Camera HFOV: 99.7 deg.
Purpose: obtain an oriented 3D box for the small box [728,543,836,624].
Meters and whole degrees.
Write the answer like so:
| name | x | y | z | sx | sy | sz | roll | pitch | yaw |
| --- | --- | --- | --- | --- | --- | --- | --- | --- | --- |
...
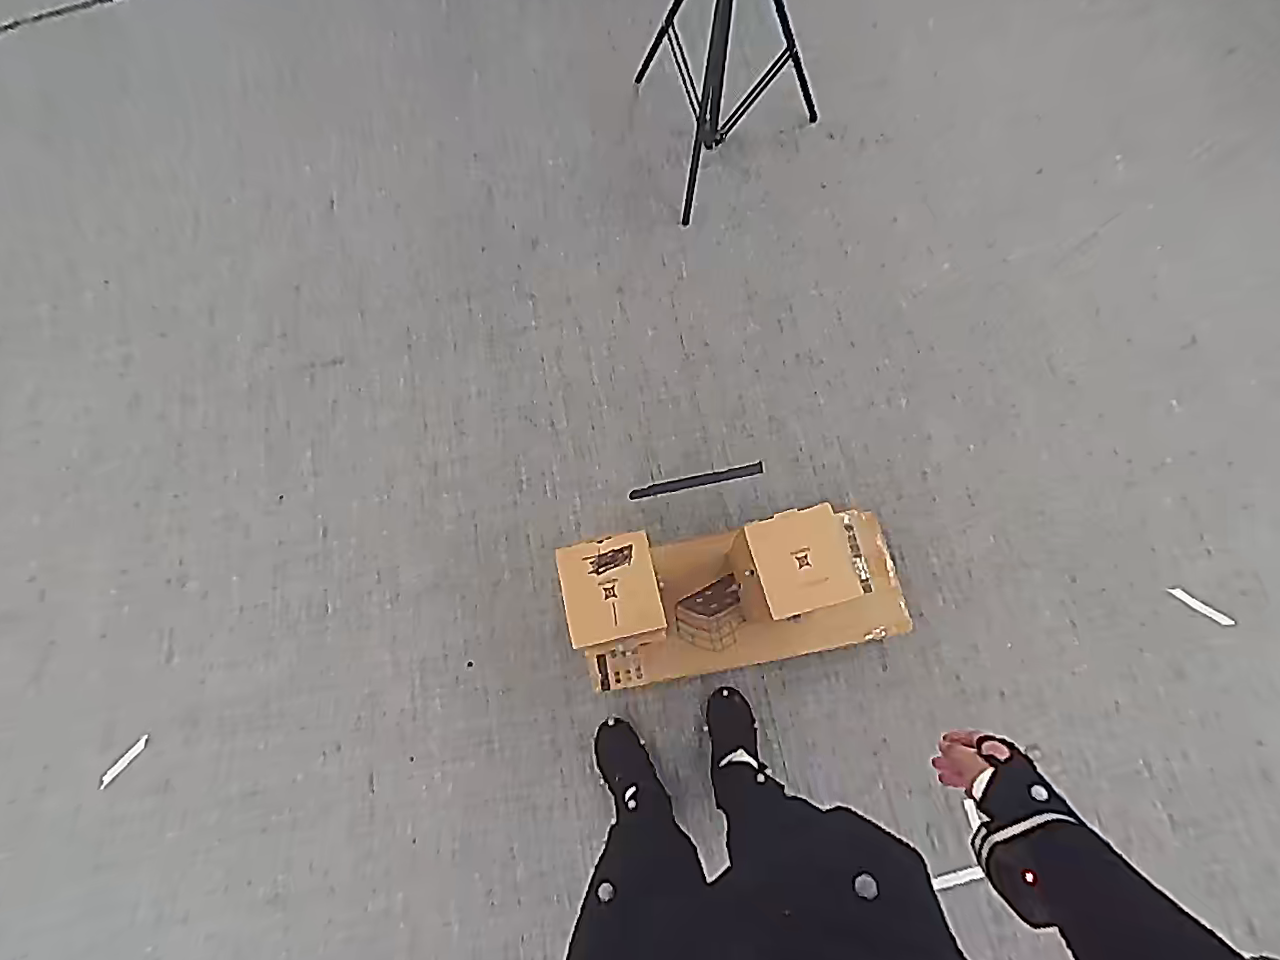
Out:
| name | x | y | z | sx | sy | sz | roll | pitch | yaw |
| --- | --- | --- | --- | --- | --- | --- | --- | --- | --- |
| small box | 0.301 | 0.211 | 1.179 | 0.168 | 0.176 | 0.179 | -12 | 74 | -4 |

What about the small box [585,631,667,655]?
| name | x | y | z | sx | sy | sz | roll | pitch | yaw |
| --- | --- | --- | --- | --- | --- | --- | --- | --- | --- |
| small box | -0.042 | 0.276 | 1.166 | 0.168 | 0.176 | 0.179 | -11 | 73 | -2 |

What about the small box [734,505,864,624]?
| name | x | y | z | sx | sy | sz | roll | pitch | yaw |
| --- | --- | --- | --- | --- | --- | --- | --- | --- | --- |
| small box | 0.288 | 0.166 | 1.024 | 0.168 | 0.176 | 0.179 | -15 | 74 | -2 |

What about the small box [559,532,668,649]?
| name | x | y | z | sx | sy | sz | roll | pitch | yaw |
| --- | --- | --- | --- | --- | --- | --- | --- | --- | --- |
| small box | -0.049 | 0.214 | 1.013 | 0.168 | 0.176 | 0.179 | -12 | 74 | -3 |
